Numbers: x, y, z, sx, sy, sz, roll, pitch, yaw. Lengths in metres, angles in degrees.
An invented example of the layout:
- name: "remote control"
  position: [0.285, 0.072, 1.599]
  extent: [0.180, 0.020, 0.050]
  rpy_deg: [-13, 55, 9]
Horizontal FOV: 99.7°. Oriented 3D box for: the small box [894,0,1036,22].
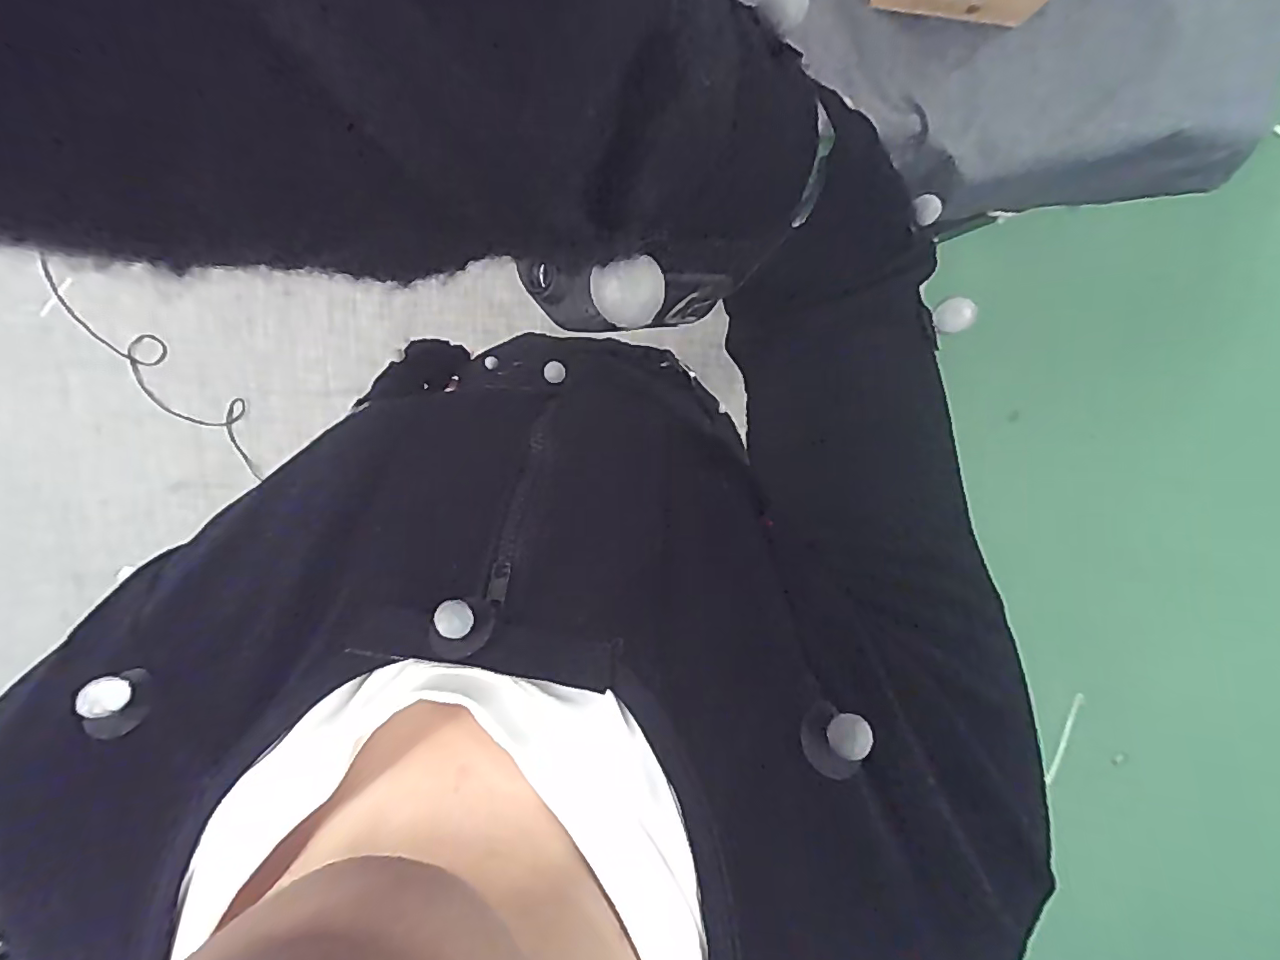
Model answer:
- name: "small box"
  position: [0.340, -0.569, 0.495]
  extent: [0.168, 0.176, 0.179]
  rpy_deg: [8, 104, 0]
